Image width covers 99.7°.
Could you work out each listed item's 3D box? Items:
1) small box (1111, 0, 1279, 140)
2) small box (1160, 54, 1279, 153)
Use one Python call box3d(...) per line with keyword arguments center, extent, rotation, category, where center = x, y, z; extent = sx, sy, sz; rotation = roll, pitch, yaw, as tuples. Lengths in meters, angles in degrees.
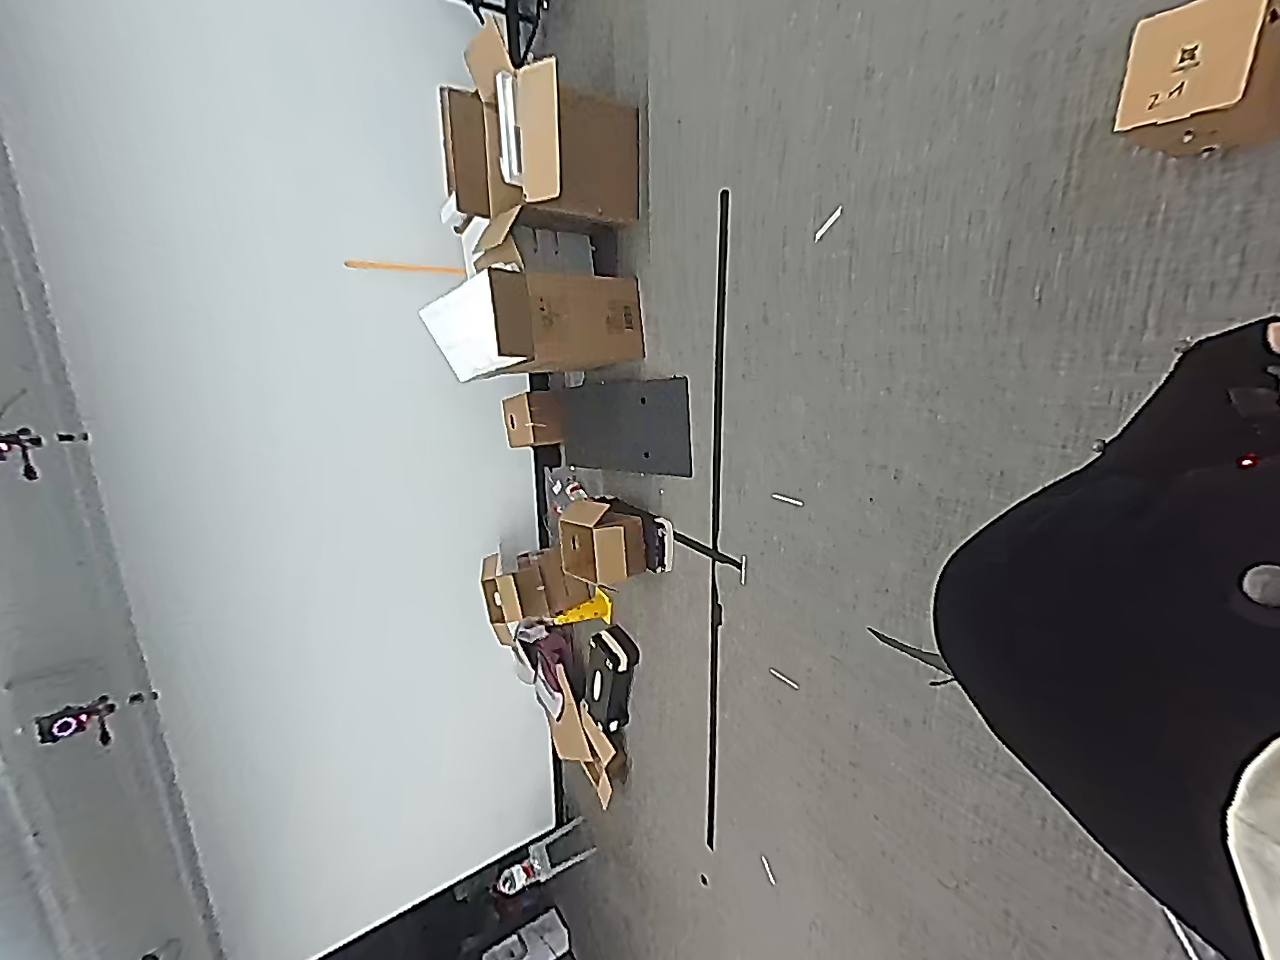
box3d(center=(0.971, -0.722, 0.940), extent=(0.168, 0.176, 0.179), rotation=(24, 118, 53), category="small box")
box3d(center=(1.111, -0.748, 1.022), extent=(0.168, 0.176, 0.179), rotation=(24, 118, 53), category="small box")
